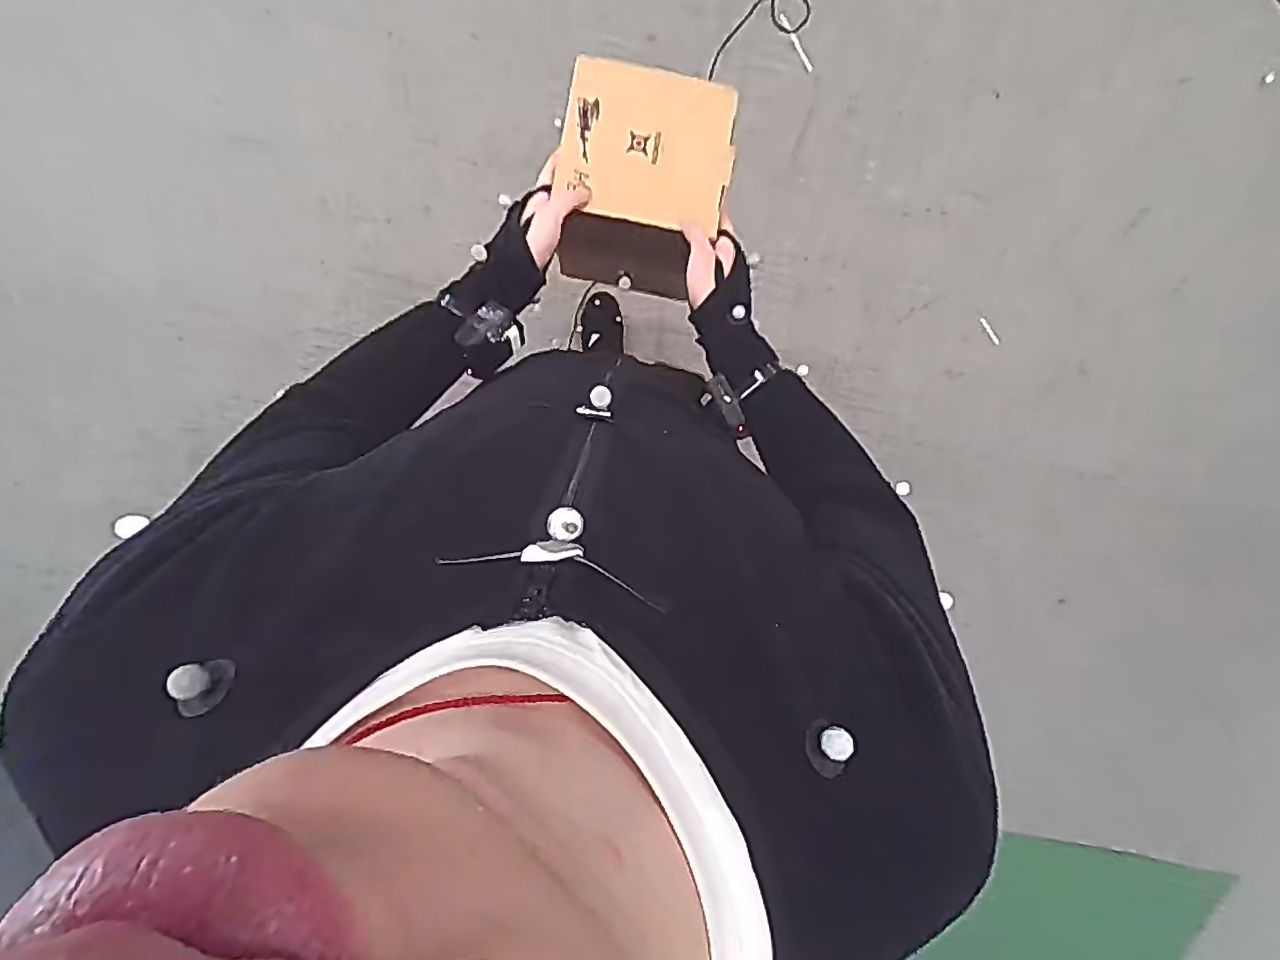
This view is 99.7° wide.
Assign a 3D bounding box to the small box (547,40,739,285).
[{"bbox_3d":[-0.003,-0.348,0.631,0.179,0.176,0.168,10,86,-5],"label":"small box"}]
